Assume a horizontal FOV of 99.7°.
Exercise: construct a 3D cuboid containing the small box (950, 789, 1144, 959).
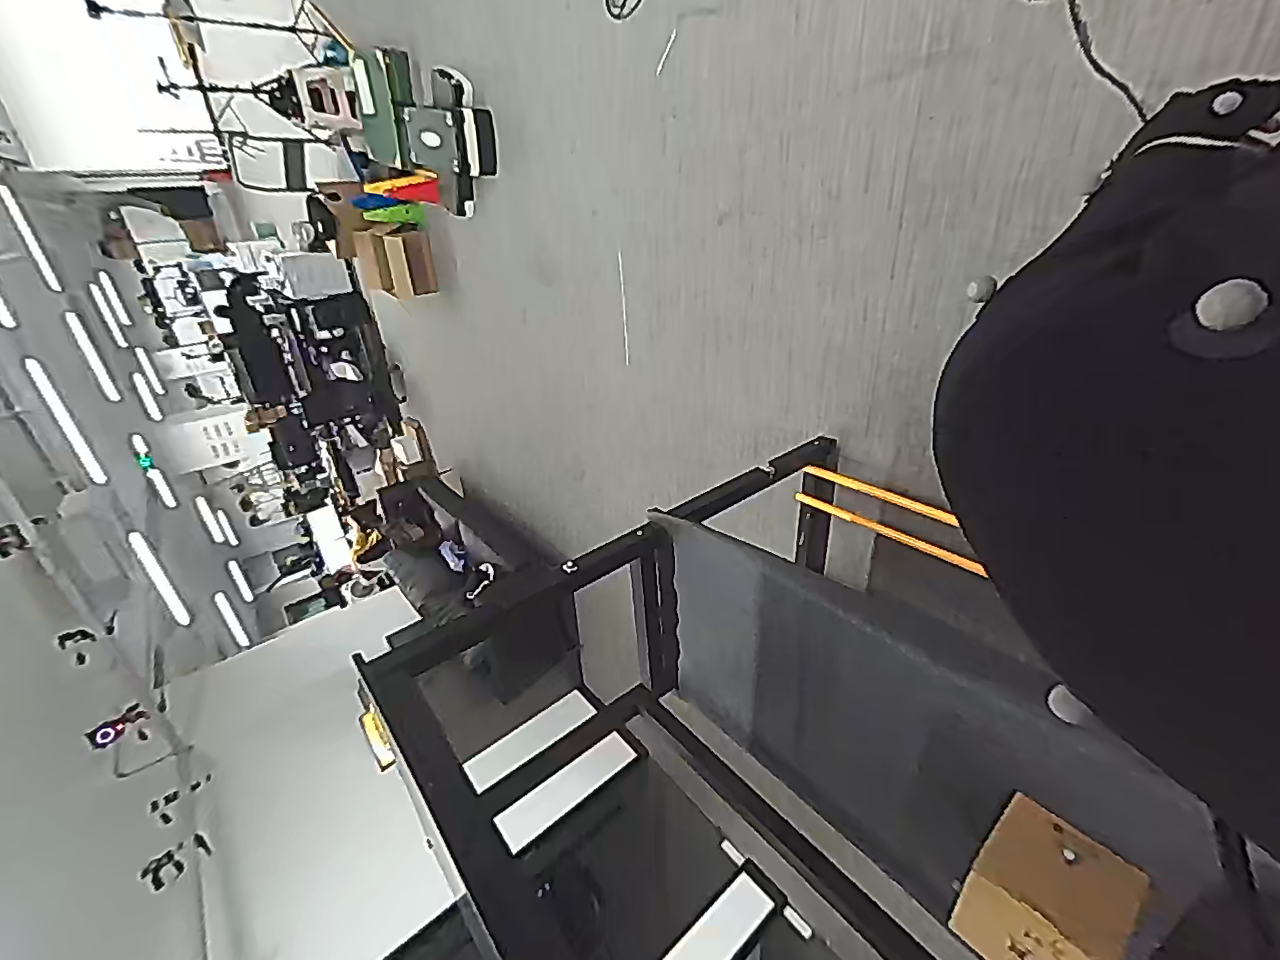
[{"bbox_3d":[0.596,0.612,0.797,0.168,0.176,0.179,27,131,44],"label":"small box"}]
